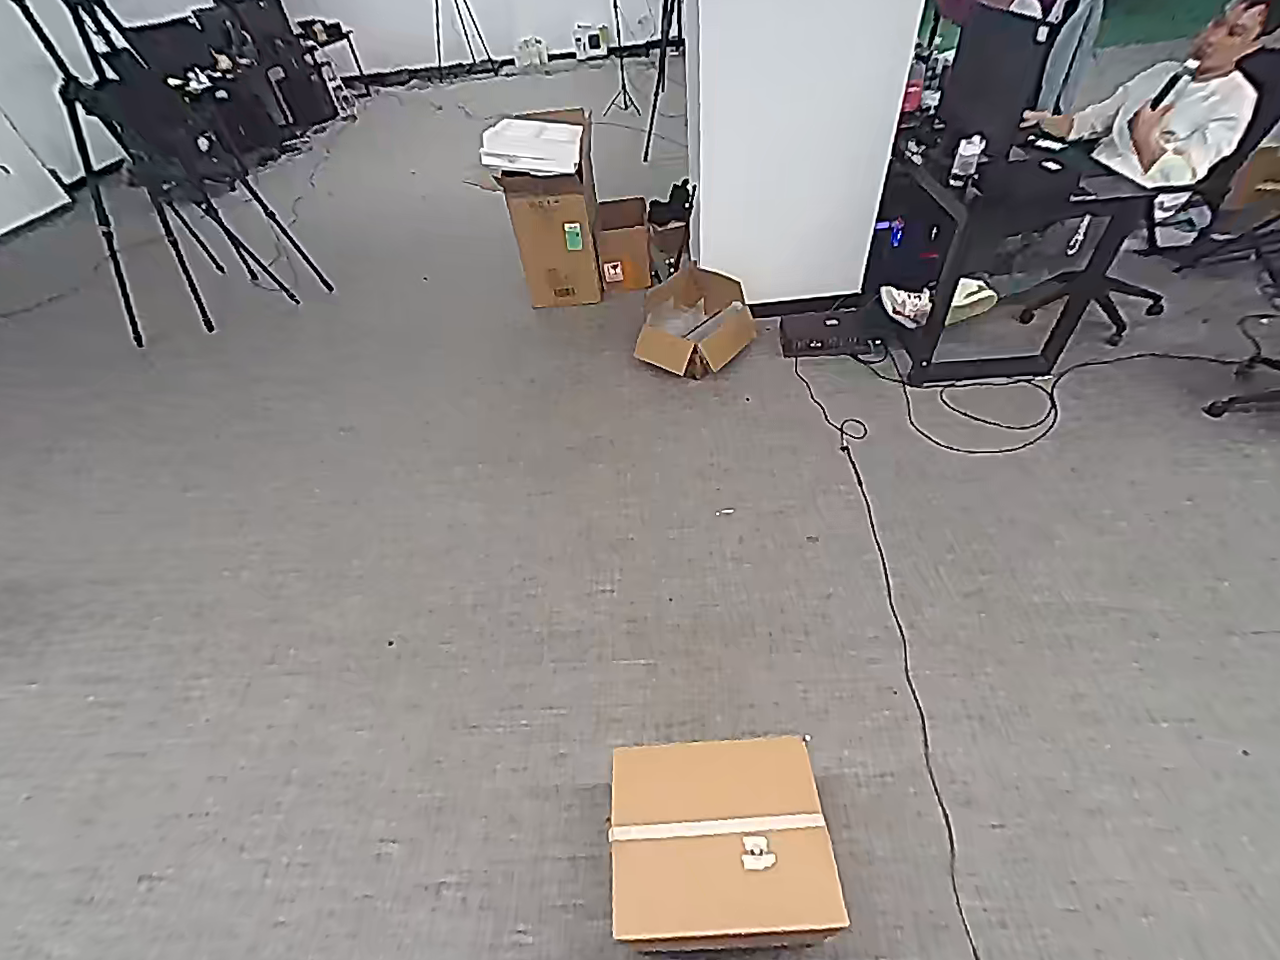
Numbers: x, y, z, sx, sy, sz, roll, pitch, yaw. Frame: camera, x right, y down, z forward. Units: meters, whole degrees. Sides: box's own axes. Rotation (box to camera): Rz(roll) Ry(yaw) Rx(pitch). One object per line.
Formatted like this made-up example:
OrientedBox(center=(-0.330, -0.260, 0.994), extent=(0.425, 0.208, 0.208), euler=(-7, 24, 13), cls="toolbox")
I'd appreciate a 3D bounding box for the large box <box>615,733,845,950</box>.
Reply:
OrientedBox(center=(0.162, 0.766, 1.144), extent=(0.408, 0.320, 0.320), euler=(-5, 46, 2), cls="large box")
